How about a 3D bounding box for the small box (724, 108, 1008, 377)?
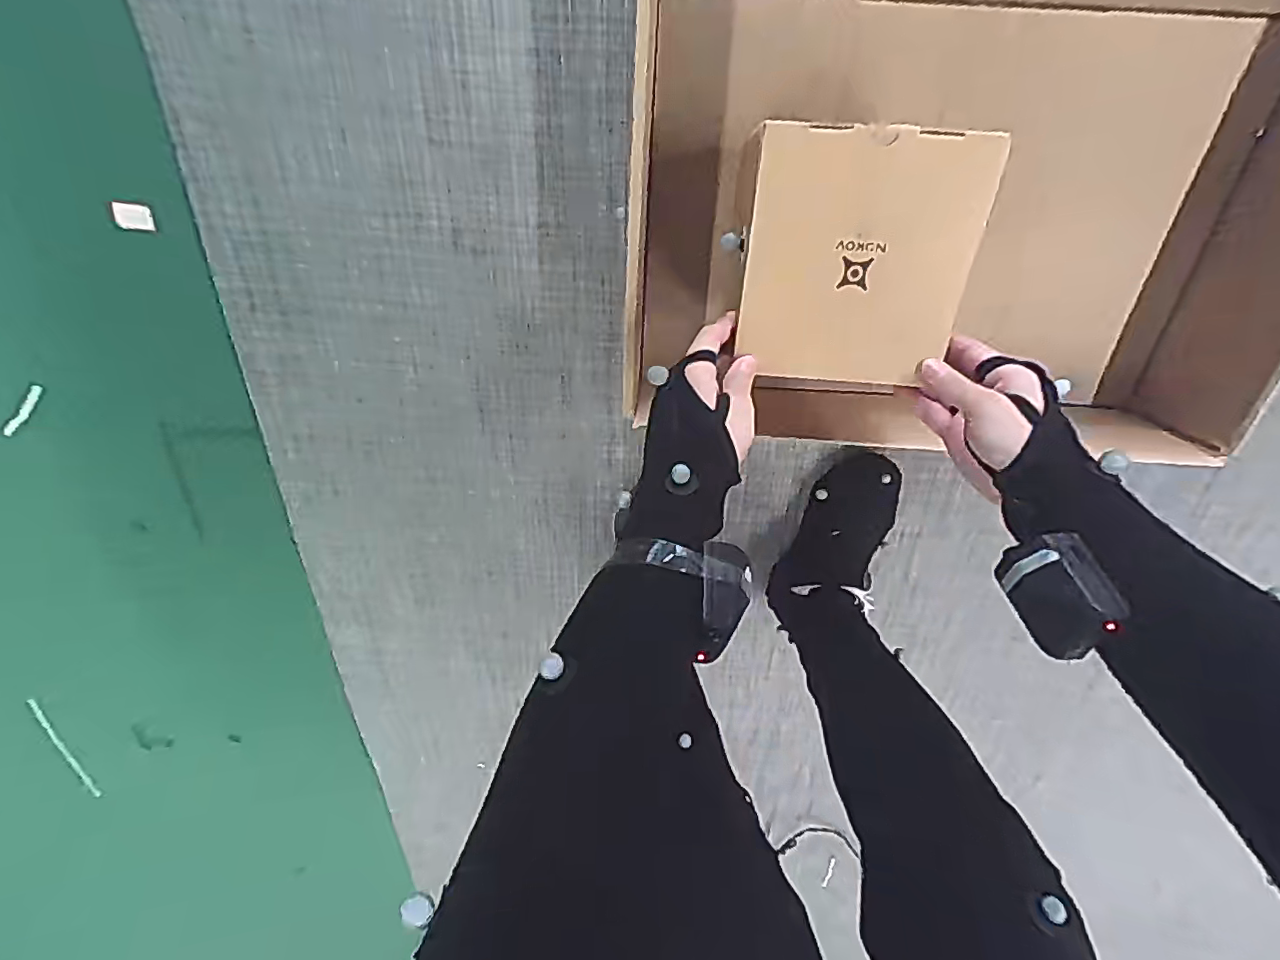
[{"bbox_3d":[0.167,-0.203,0.472,0.168,0.176,0.179,5,116,3],"label":"small box"}]
